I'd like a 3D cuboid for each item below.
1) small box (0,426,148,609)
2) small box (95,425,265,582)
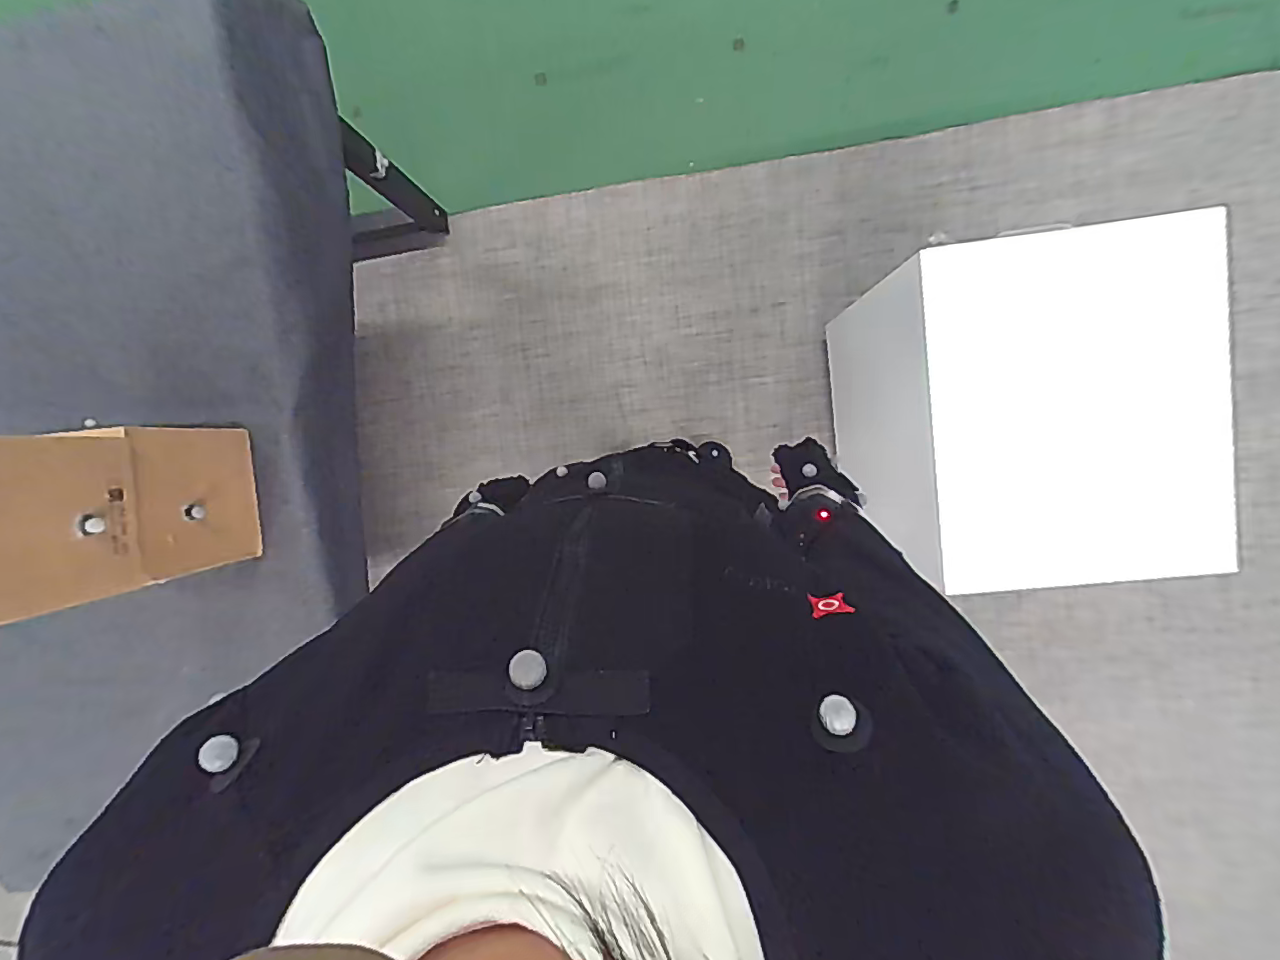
[{"bbox_3d":[-0.639,0.037,0.522,0.179,0.176,0.168,-4,94,9],"label":"small box"},{"bbox_3d":[-0.615,0.023,0.684,0.168,0.176,0.179,-4,95,7],"label":"small box"}]
